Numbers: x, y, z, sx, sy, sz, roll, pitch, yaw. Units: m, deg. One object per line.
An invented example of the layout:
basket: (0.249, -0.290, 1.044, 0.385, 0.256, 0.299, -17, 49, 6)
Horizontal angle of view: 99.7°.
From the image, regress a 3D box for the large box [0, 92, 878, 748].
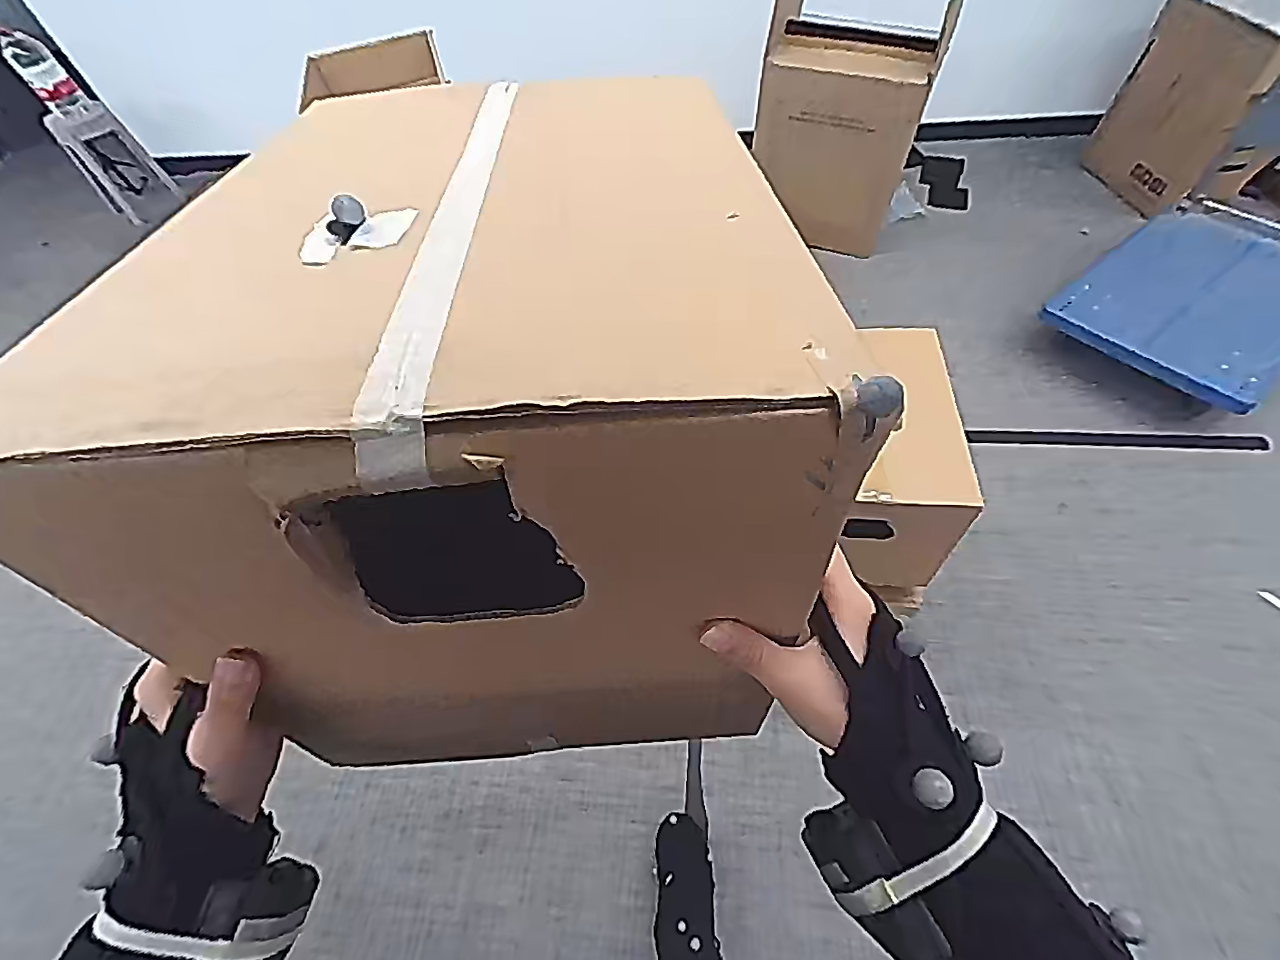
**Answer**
large box: (-0.084, -0.061, 0.420, 0.320, 0.320, 0.408, -5, 48, -1)
